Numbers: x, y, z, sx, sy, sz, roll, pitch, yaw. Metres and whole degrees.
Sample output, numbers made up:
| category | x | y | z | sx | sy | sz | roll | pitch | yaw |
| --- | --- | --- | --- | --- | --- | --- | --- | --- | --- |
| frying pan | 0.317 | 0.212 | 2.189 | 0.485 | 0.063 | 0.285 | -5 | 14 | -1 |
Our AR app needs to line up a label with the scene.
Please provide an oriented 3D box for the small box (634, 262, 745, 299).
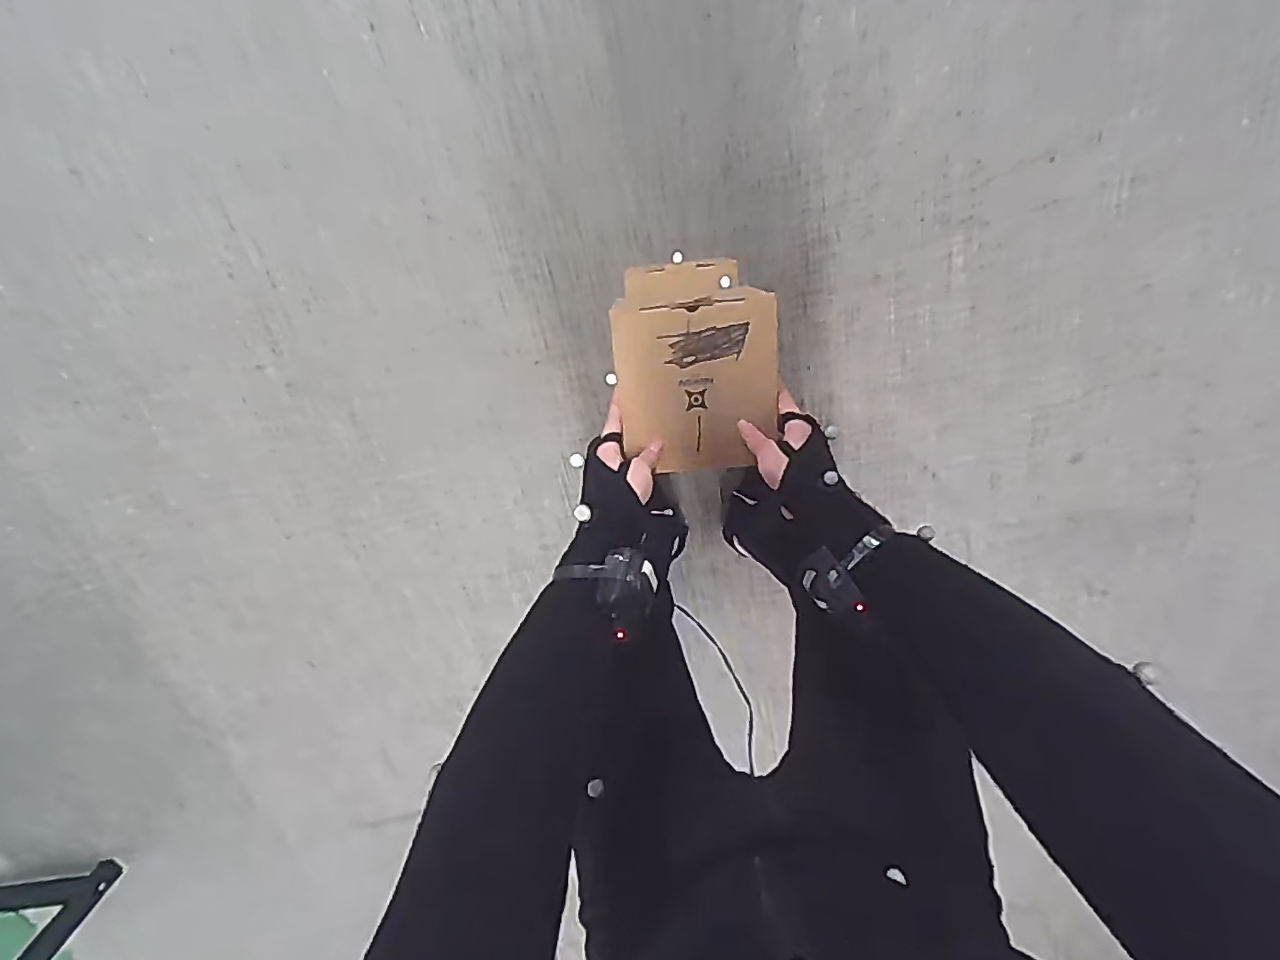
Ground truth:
| category | x | y | z | sx | sy | sz | roll | pitch | yaw |
| --- | --- | --- | --- | --- | --- | --- | --- | --- | --- |
| small box | 0.077 | -0.255 | 0.884 | 0.168 | 0.176 | 0.179 | -5 | 113 | 3 |

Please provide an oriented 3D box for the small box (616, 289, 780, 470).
| category | x | y | z | sx | sy | sz | roll | pitch | yaw |
| --- | --- | --- | --- | --- | --- | --- | --- | --- | --- |
| small box | 0.065 | -0.127 | 0.637 | 0.168 | 0.176 | 0.179 | -5 | 113 | 5 |
